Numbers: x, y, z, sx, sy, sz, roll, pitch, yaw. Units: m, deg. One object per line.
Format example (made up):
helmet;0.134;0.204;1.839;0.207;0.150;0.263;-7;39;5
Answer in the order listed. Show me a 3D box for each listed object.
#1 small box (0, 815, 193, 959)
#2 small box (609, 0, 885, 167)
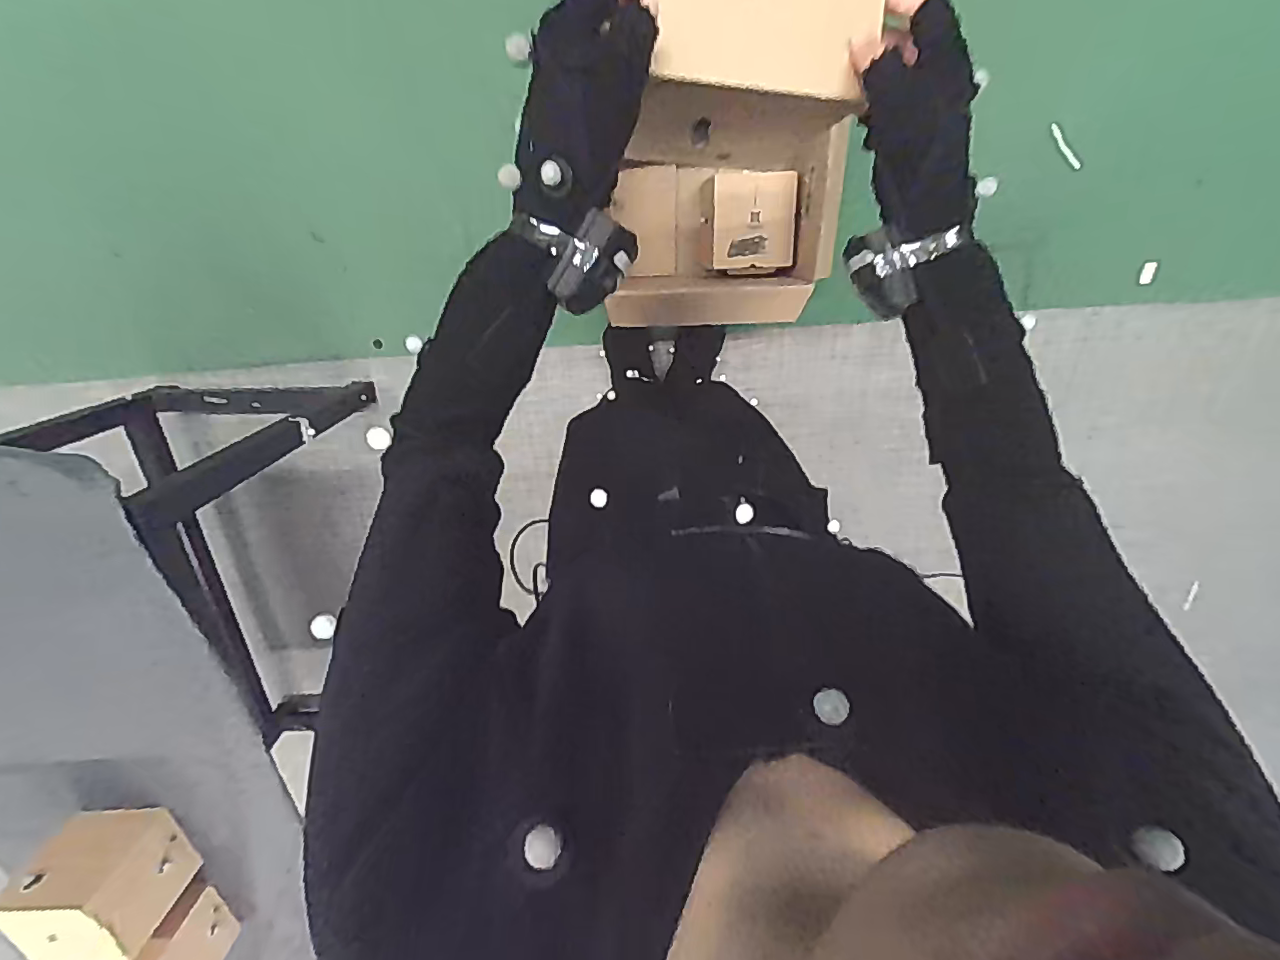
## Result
small box;-0.954;0.720;0.947;0.179;0.176;0.168;-4;114;3
small box;0.069;-0.362;0.416;0.168;0.176;0.179;-2;103;-11
